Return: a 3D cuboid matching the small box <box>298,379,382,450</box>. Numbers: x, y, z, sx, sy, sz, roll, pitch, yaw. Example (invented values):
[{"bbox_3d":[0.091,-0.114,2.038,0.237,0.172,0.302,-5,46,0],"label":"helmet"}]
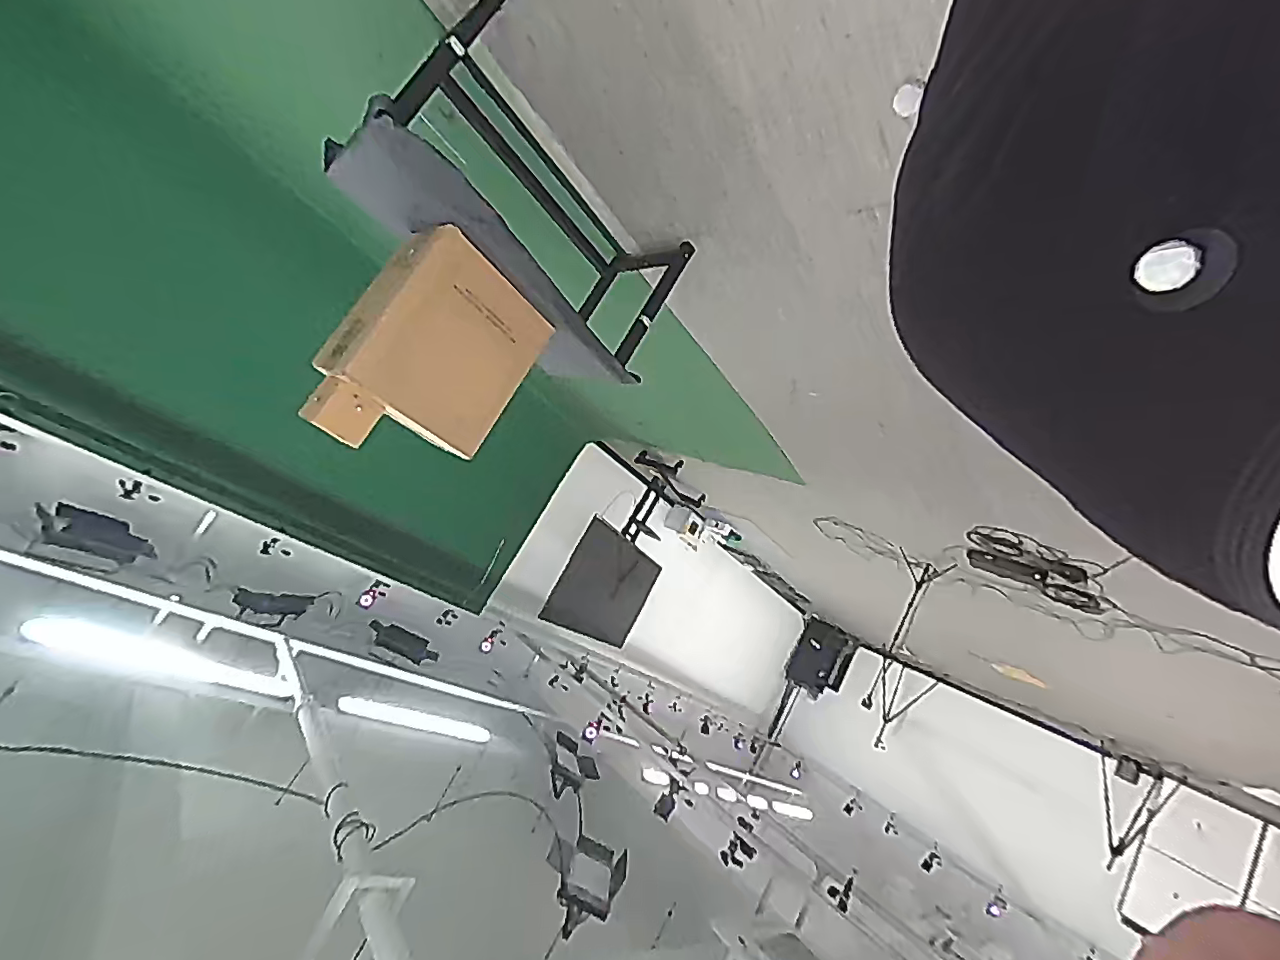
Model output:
[{"bbox_3d":[-1.018,-0.228,1.845,0.179,0.176,0.168,16,161,43],"label":"small box"}]
